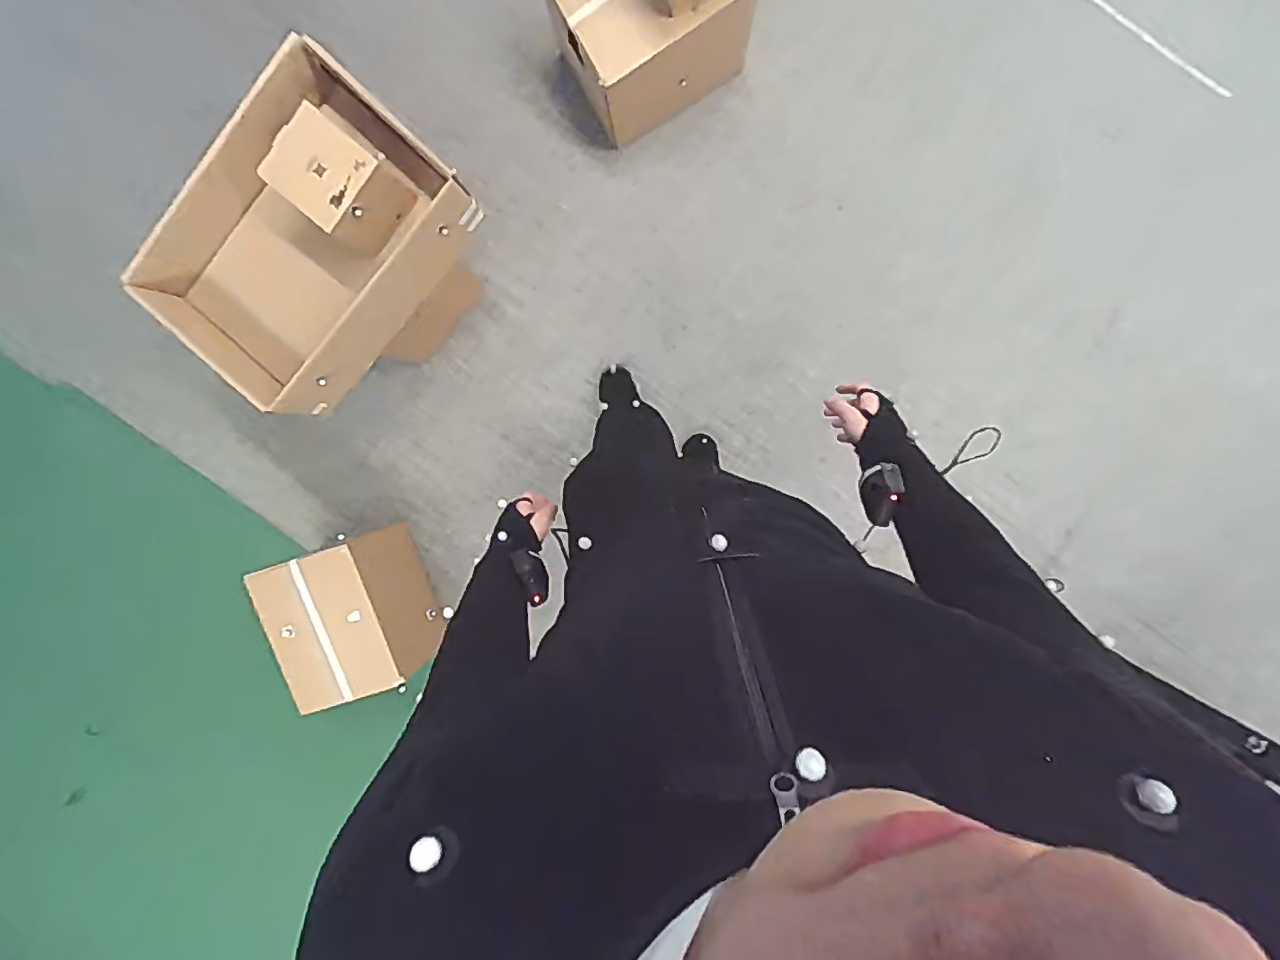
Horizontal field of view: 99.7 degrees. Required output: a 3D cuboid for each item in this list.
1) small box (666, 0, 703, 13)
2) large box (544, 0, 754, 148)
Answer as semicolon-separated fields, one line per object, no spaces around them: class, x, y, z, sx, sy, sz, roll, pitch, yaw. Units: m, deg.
small box;0.104;-1.103;1.075;0.168;0.176;0.179;-24;98;7
large box;0.021;-1.126;1.323;0.408;0.320;0.320;-31;94;8
